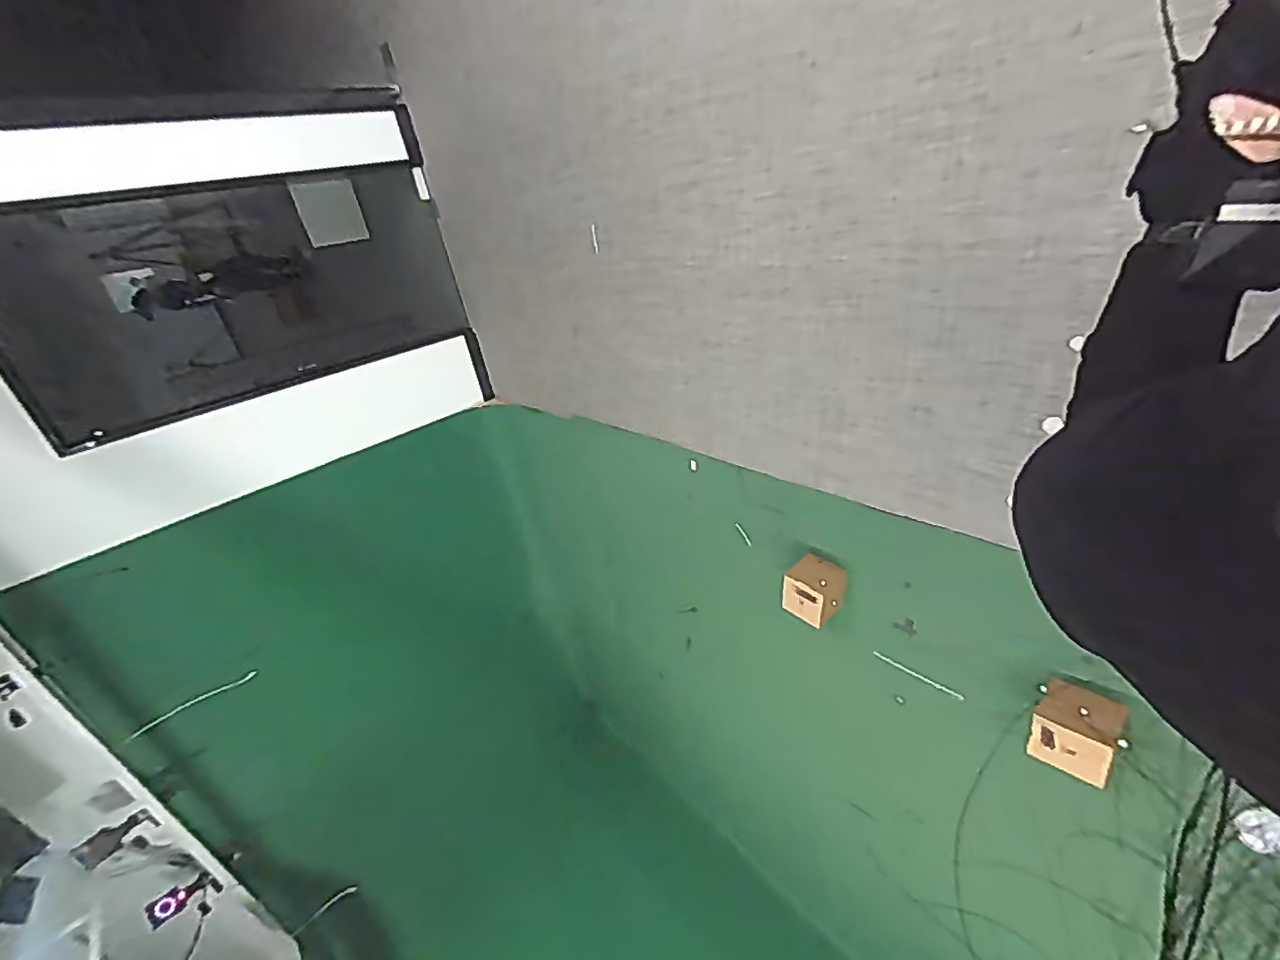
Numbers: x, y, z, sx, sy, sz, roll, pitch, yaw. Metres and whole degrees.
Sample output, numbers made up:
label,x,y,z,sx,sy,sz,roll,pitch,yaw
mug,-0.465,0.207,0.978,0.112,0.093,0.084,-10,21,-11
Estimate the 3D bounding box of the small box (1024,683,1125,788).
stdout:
label,x,y,z,sx,sy,sz,roll,pitch,yaw
small box,1.212,0.702,1.512,0.179,0.176,0.168,17,128,45
